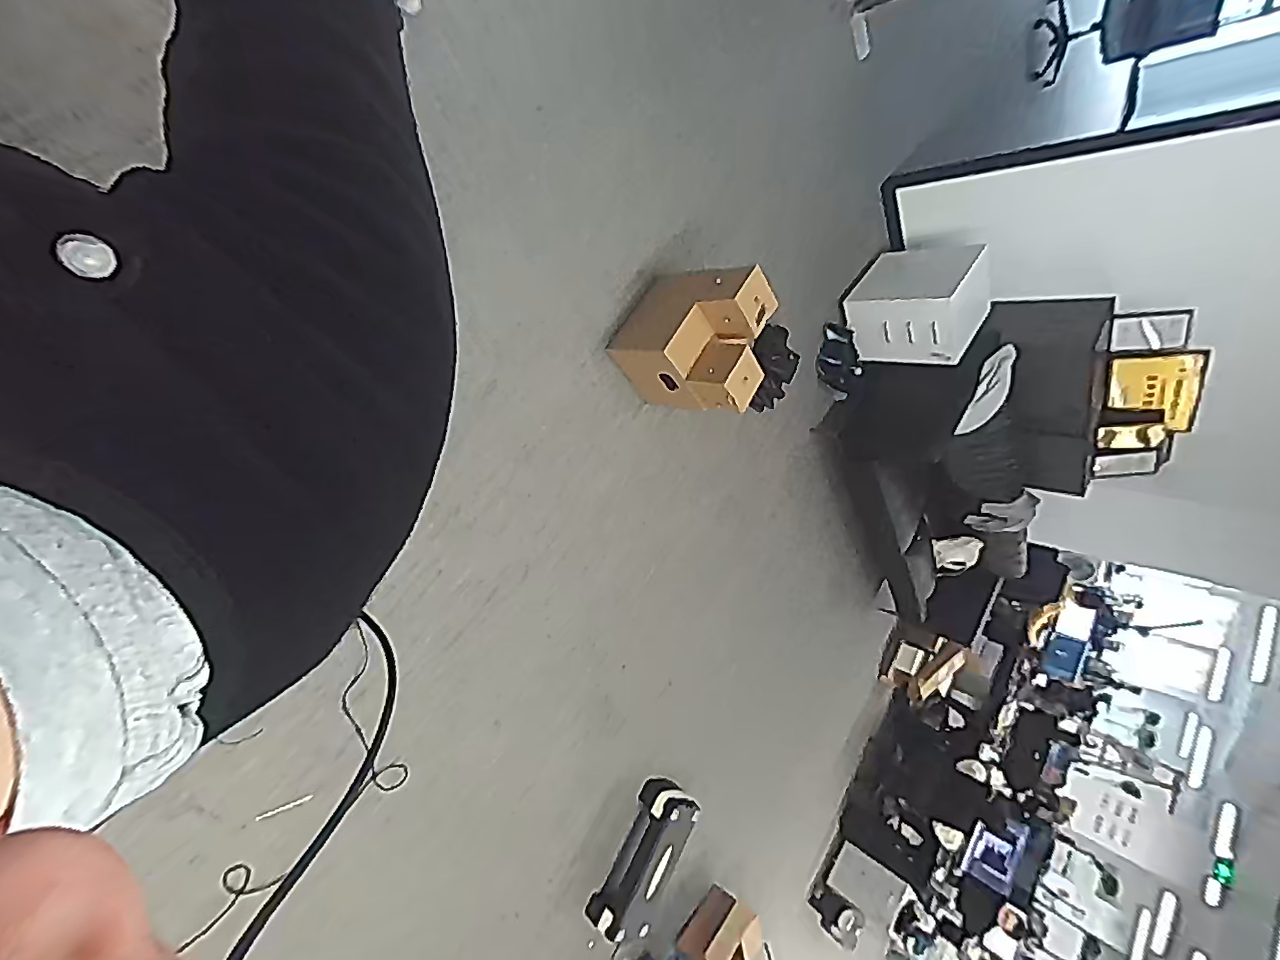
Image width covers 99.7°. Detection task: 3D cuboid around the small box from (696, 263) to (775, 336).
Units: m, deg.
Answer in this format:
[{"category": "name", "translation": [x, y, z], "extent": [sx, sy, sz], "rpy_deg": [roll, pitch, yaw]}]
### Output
[{"category": "small box", "translation": [0.327, -0.614, 1.851], "extent": [0.179, 0.176, 0.168], "rpy_deg": [47, 68, -38]}]

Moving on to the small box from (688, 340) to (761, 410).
[{"category": "small box", "translation": [0.289, -0.367, 1.883], "extent": [0.168, 0.176, 0.179], "rpy_deg": [44, 69, -45]}]
